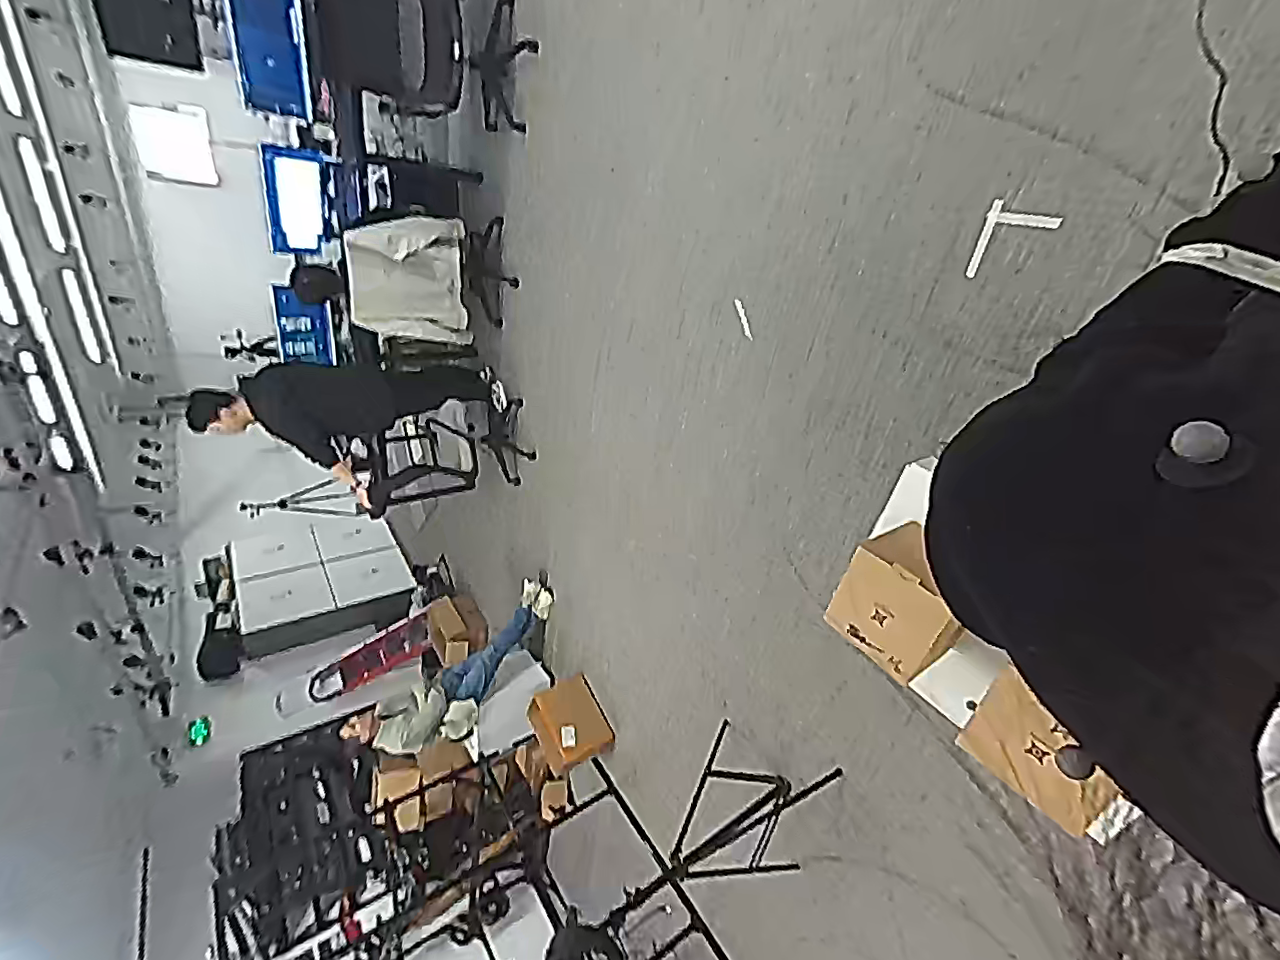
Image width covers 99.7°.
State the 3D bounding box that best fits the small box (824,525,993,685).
[{"bbox_3d":[0.451,0.198,0.906,0.168,0.176,0.179,42,131,39],"label":"small box"}]

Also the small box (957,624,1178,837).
[{"bbox_3d":[0.592,0.336,0.753,0.168,0.176,0.179,38,129,42],"label":"small box"}]
